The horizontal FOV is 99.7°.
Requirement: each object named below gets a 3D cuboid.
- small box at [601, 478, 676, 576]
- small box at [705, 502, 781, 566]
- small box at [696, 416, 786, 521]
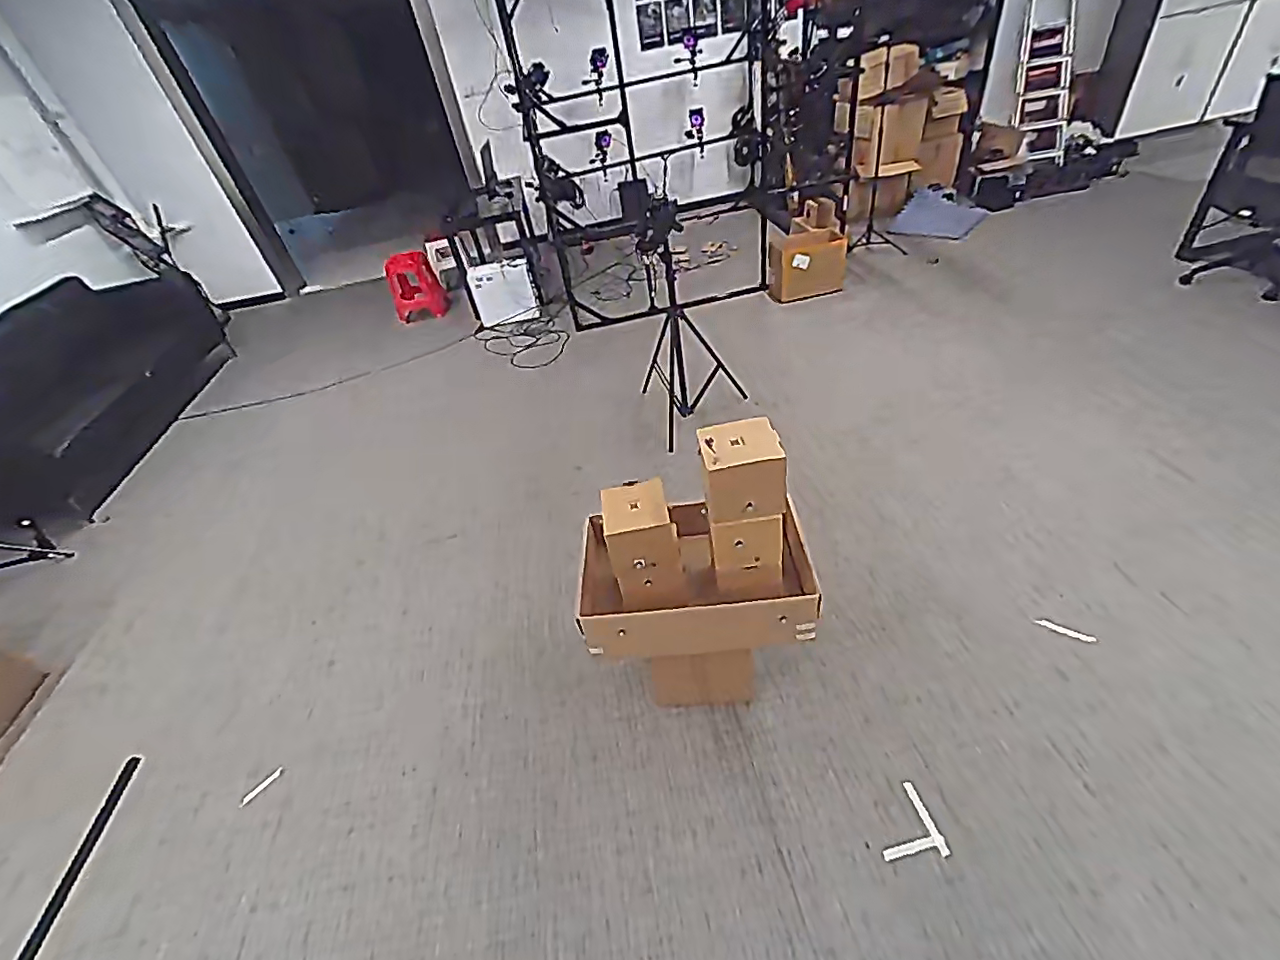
[{"bbox_3d":[-0.005,0.122,1.407,0.168,0.176,0.179,-11,39,2],"label":"small box"},{"bbox_3d":[0.257,0.101,1.368,0.168,0.176,0.179,-9,39,4],"label":"small box"},{"bbox_3d":[0.233,-0.025,1.267,0.179,0.176,0.168,-9,38,2],"label":"small box"}]
